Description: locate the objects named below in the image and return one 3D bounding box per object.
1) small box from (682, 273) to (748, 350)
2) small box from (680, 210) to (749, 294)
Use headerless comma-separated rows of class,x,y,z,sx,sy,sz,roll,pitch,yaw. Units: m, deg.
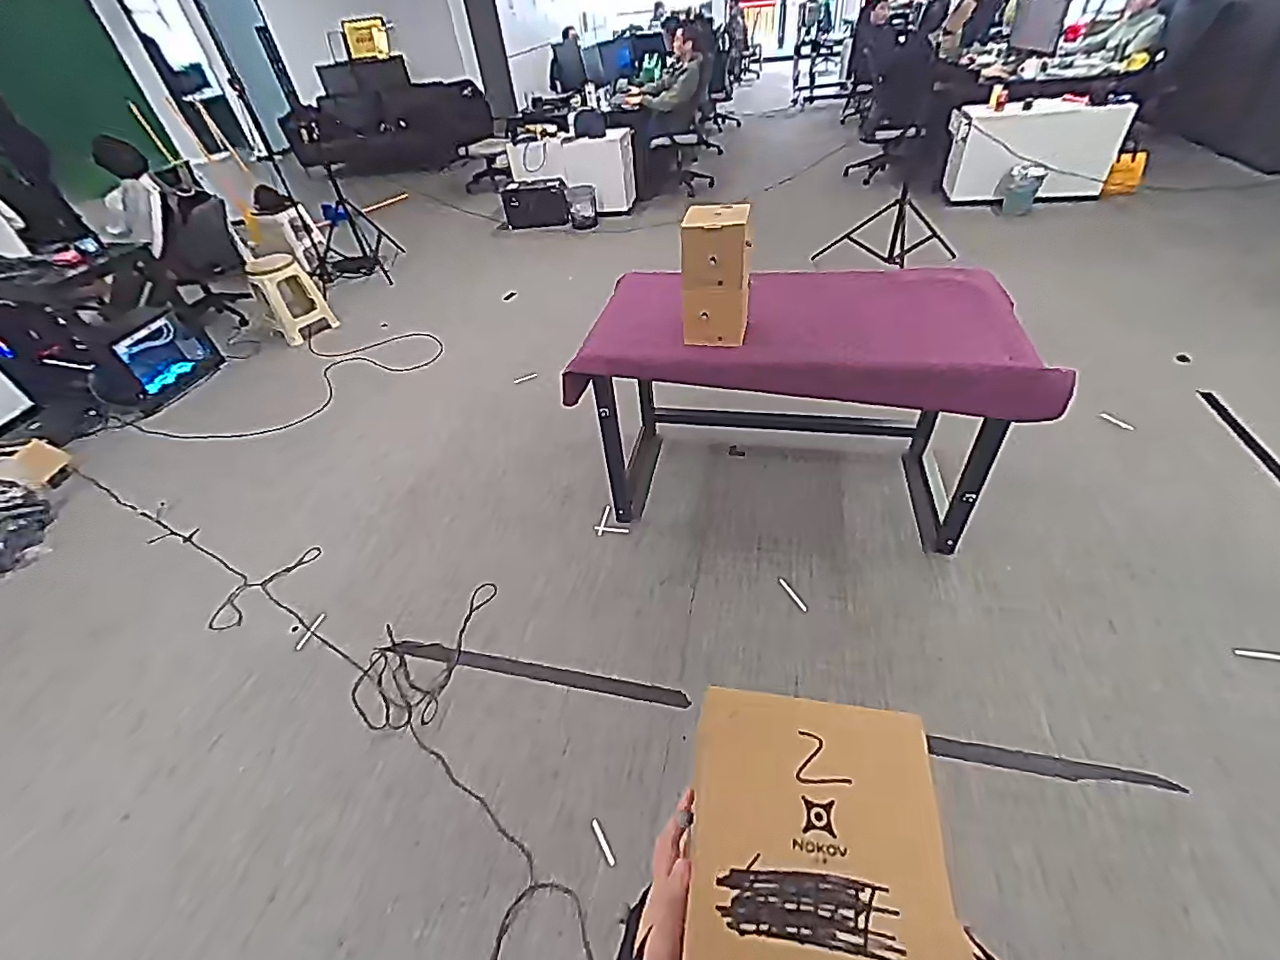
small box,0.222,-0.491,1.575,0.168,0.176,0.179,6,42,13
small box,0.206,-0.616,1.470,0.168,0.176,0.179,5,43,12
